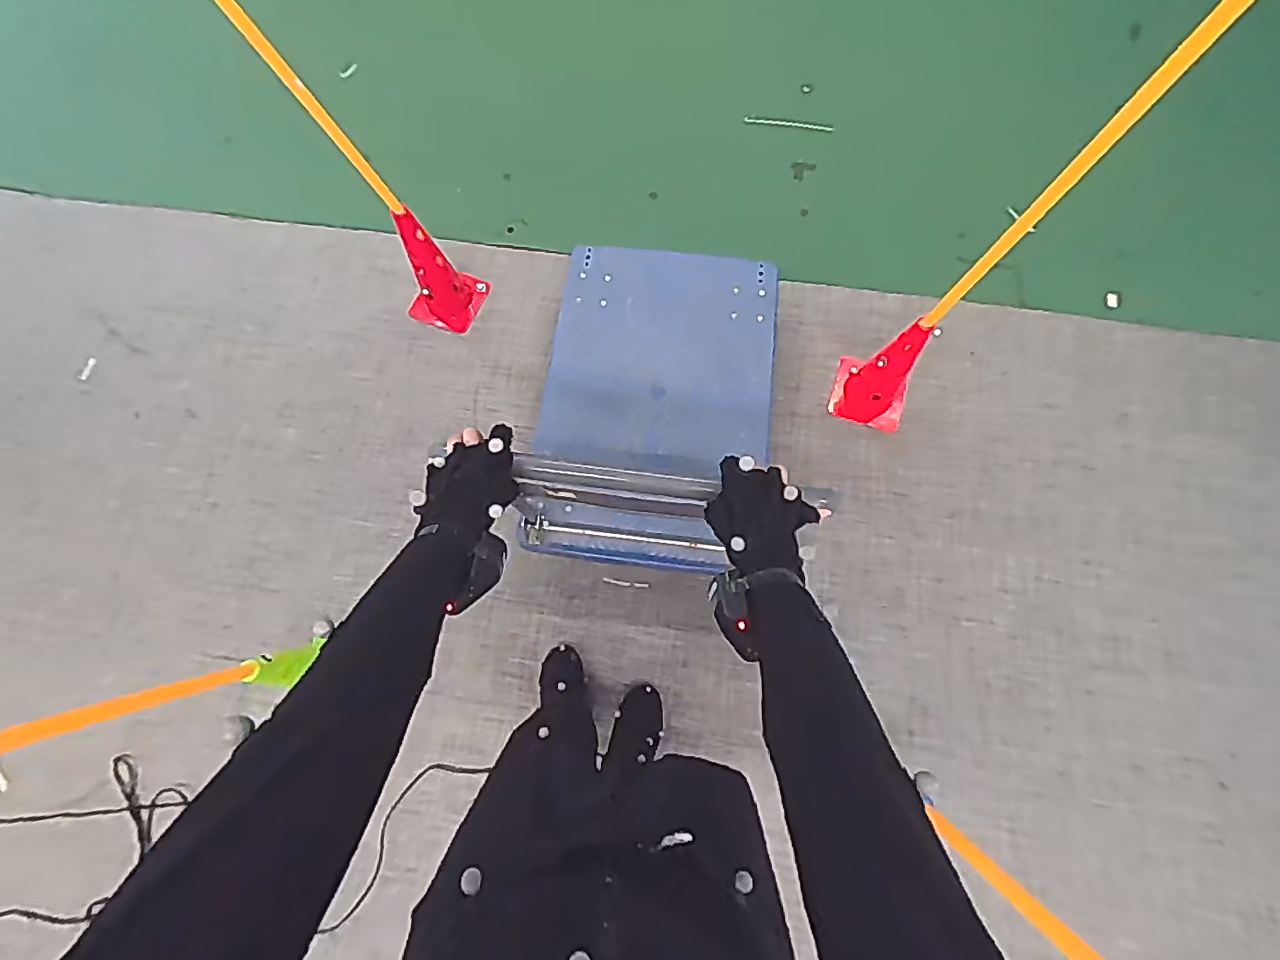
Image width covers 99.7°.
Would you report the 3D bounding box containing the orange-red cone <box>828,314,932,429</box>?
[{"bbox_3d":[0.653,-0.306,1.396,0.198,0.360,0.199,19,74,7],"label":"orange-red cone"}]
